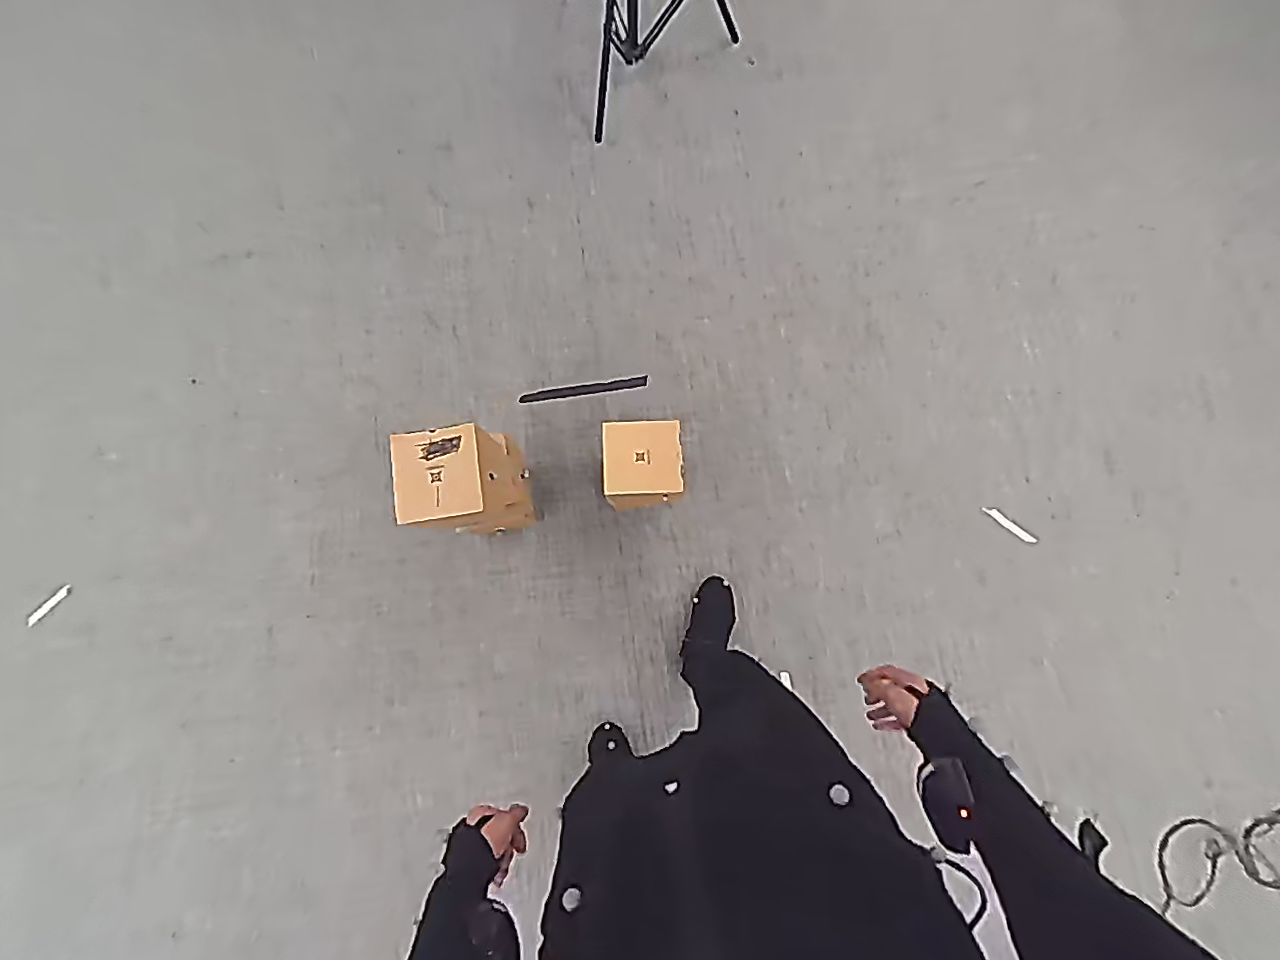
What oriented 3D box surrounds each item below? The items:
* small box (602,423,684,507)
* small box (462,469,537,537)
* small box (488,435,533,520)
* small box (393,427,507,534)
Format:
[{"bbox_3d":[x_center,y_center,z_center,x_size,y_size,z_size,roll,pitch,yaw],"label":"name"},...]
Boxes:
[{"bbox_3d":[0.007,-0.030,1.266,0.179,0.176,0.168,-2,80,-1],"label":"small box"},{"bbox_3d":[-0.376,0.045,1.418,0.168,0.176,0.179,-11,80,-1],"label":"small box"},{"bbox_3d":[-0.364,0.011,1.258,0.179,0.176,0.168,-12,80,-2],"label":"small box"},{"bbox_3d":[-0.377,0.007,1.092,0.168,0.176,0.179,-9,81,0],"label":"small box"}]
